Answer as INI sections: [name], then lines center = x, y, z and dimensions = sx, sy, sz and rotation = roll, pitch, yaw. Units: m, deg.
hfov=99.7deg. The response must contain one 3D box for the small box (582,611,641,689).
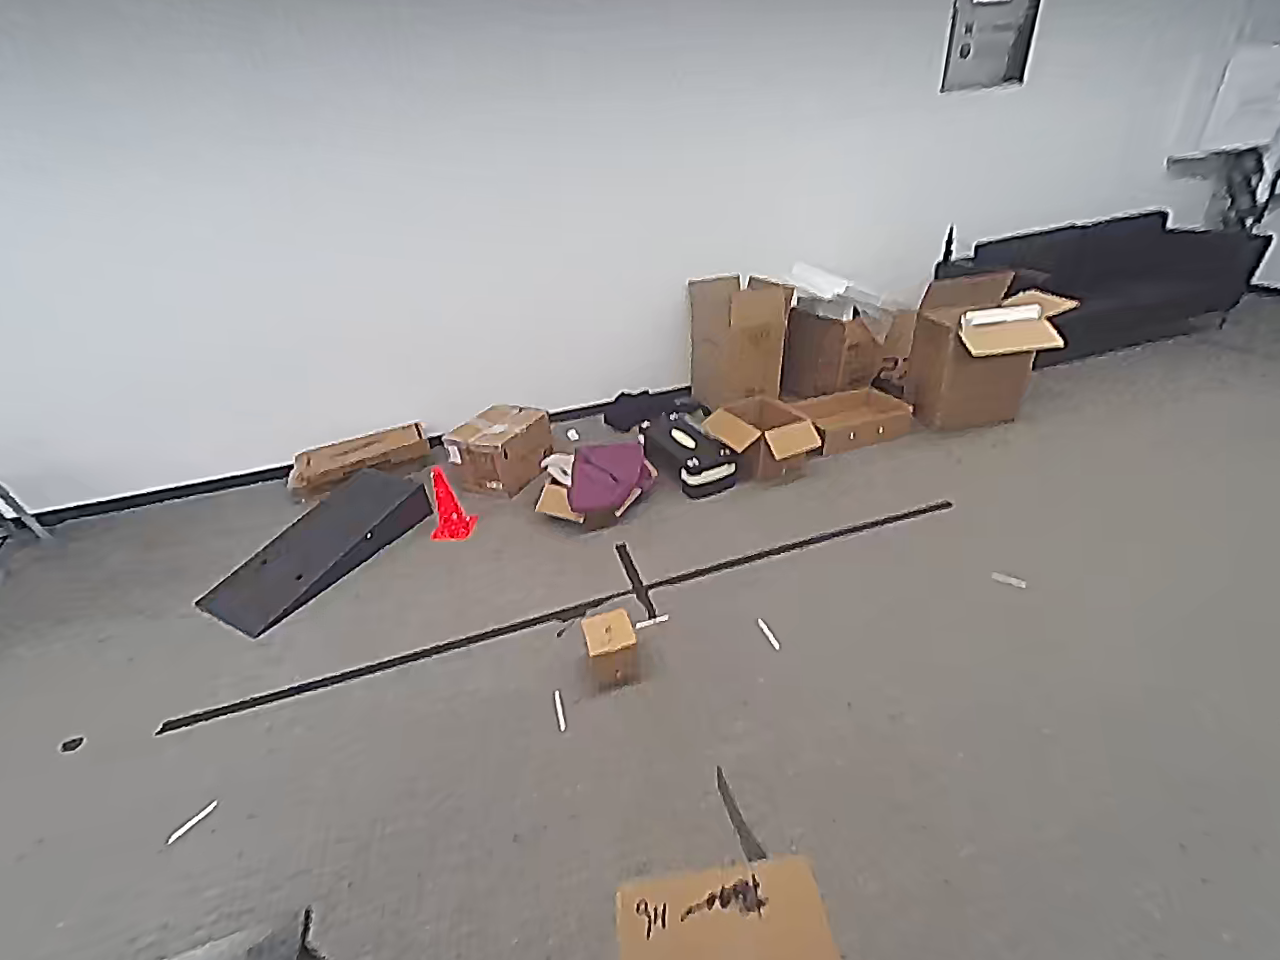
[small box]
center = -0.102, 0.600, 1.910
dimensions = 0.168, 0.176, 0.179
rotation = -13, 31, -11
